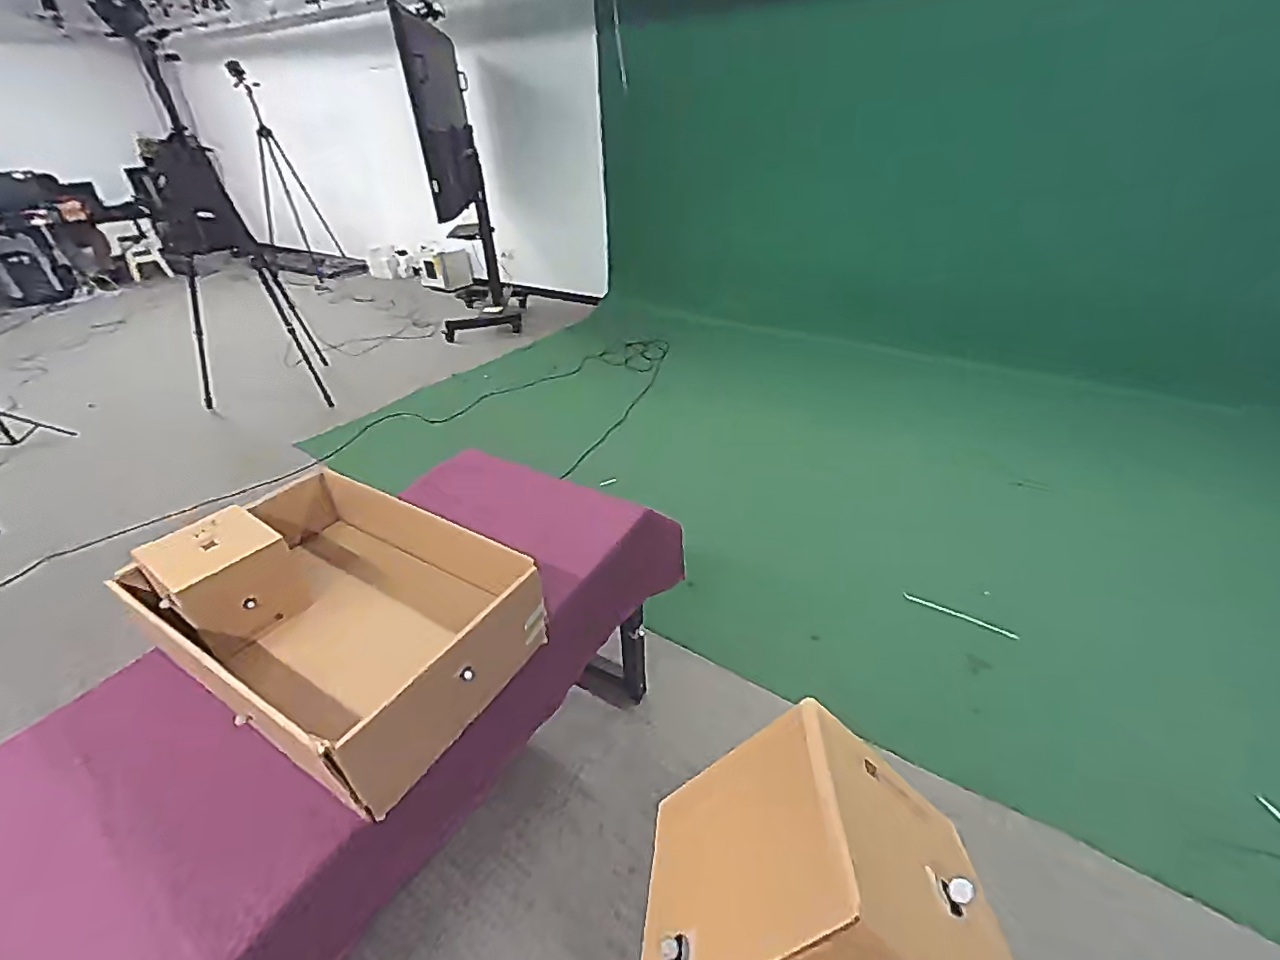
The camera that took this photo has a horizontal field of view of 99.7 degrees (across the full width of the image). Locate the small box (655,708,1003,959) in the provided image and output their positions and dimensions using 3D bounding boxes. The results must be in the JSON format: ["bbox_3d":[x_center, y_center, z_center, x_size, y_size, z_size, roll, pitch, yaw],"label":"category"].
[{"bbox_3d":[0.124,0.305,0.386,0.168,0.179,0.176,41,19,-3],"label":"small box"}]
